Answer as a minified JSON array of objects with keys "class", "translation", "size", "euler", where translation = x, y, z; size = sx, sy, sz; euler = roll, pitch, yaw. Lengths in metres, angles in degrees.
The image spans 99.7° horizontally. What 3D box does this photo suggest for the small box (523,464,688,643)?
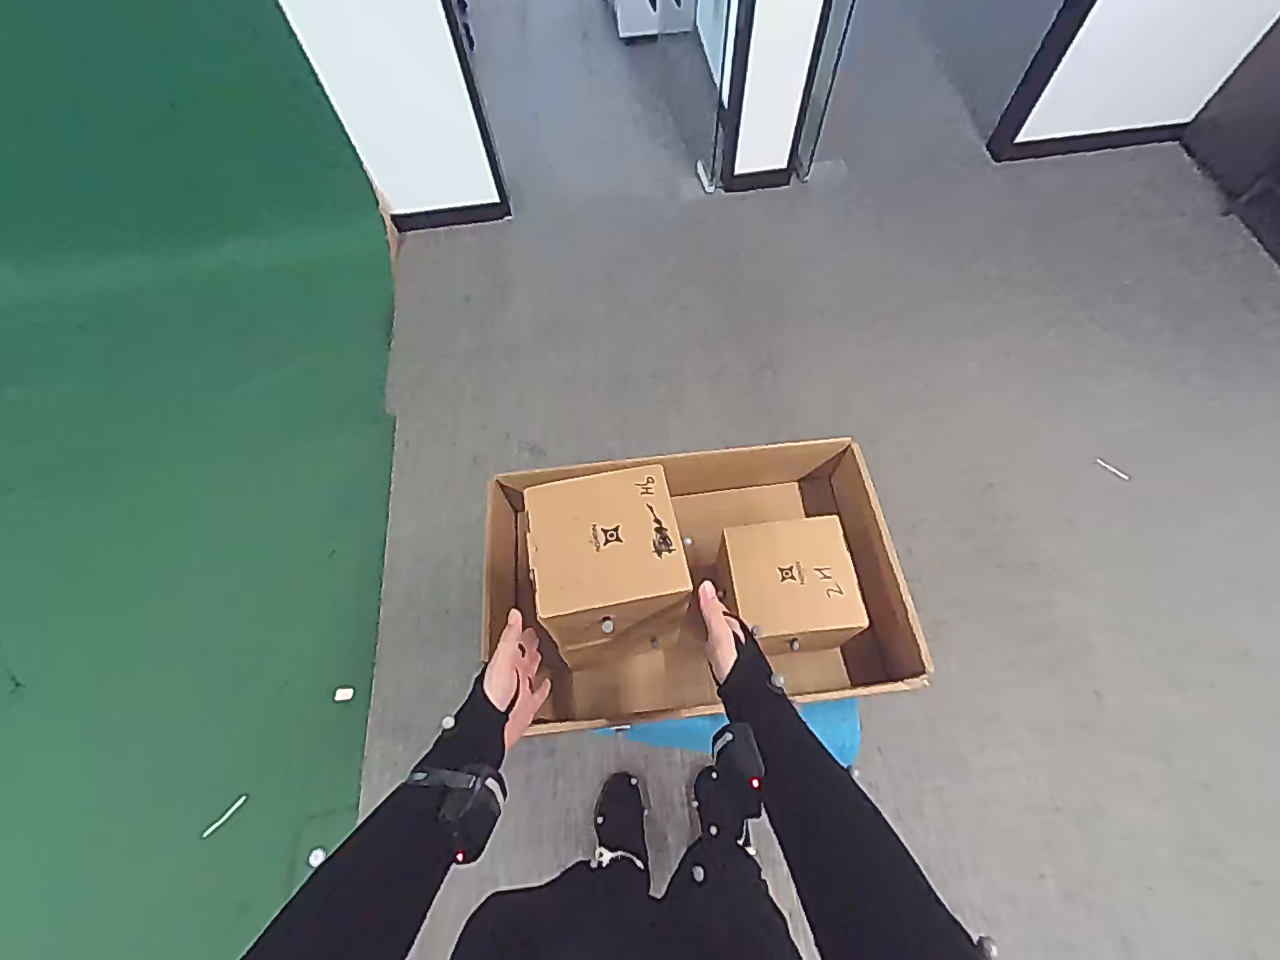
[{"class":"small box","translation":[-0.042,0.102,0.698],"size":[0.179,0.176,0.168],"euler":[-10,63,-4]}]
